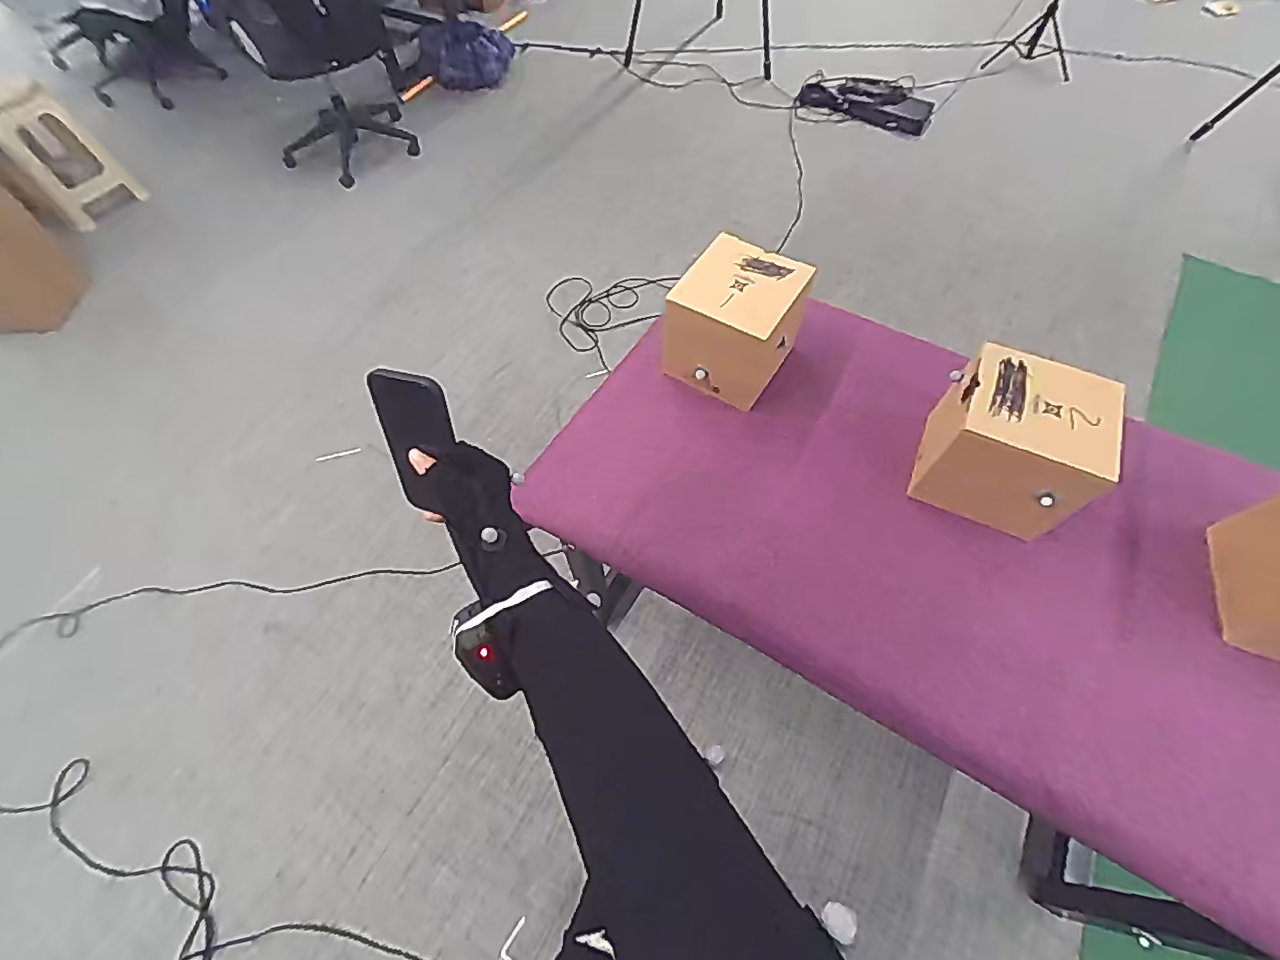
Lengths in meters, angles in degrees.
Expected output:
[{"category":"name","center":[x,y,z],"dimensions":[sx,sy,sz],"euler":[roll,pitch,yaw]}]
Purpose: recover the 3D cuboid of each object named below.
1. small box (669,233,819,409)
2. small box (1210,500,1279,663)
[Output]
[{"category":"small box","center":[0.155,-0.250,0.864],"dimensions":[0.168,0.176,0.179],"euler":[29,66,17]},{"category":"small box","center":[0.837,0.130,0.633],"dimensions":[0.168,0.176,0.179],"euler":[19,61,12]}]
